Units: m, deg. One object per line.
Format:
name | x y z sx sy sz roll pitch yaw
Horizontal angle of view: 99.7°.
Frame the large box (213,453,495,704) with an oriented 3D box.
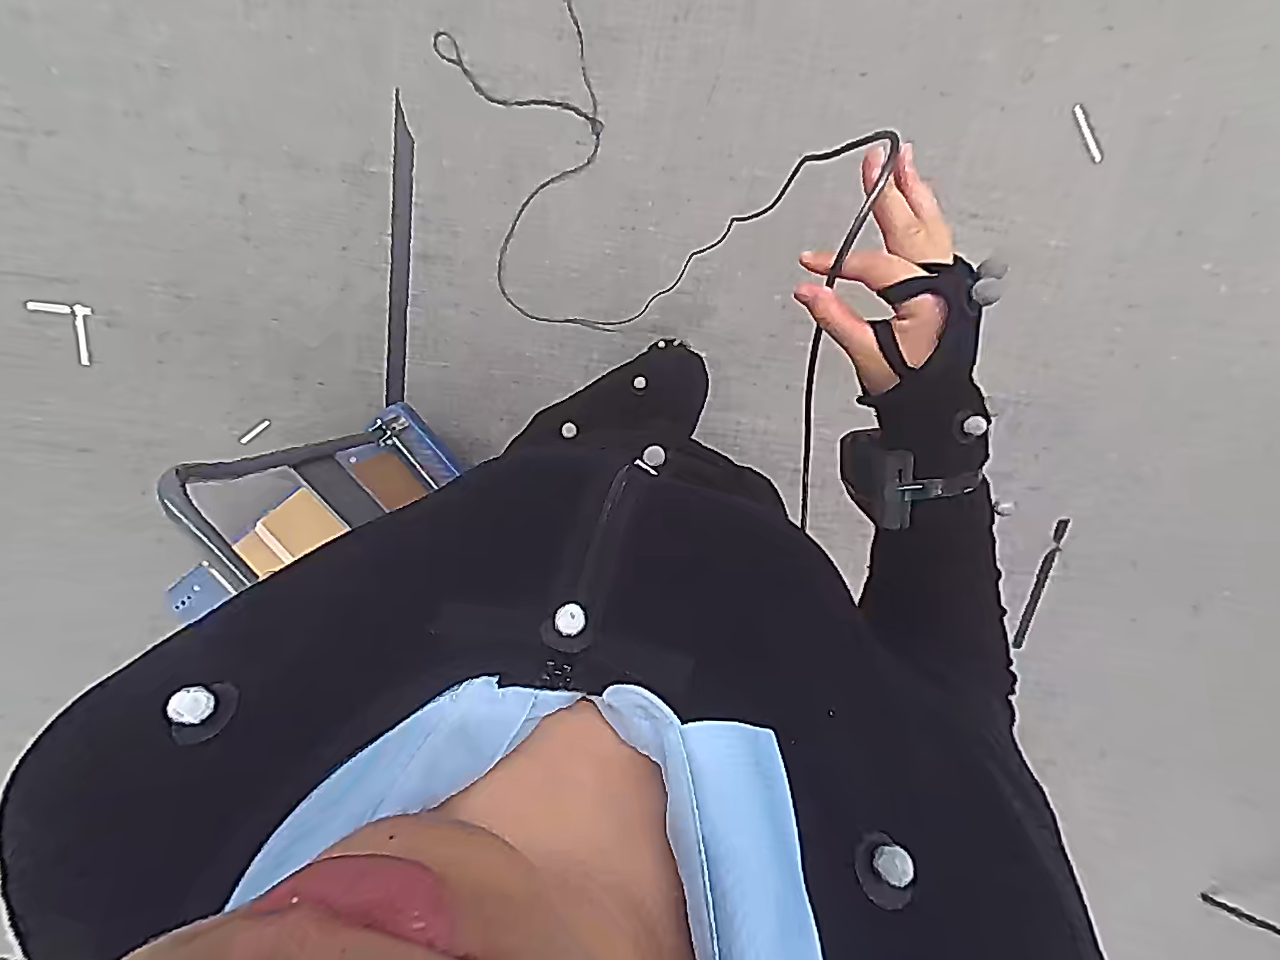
large box | -0.610 0.203 1.231 0.320 0.320 0.408 -36 98 8
